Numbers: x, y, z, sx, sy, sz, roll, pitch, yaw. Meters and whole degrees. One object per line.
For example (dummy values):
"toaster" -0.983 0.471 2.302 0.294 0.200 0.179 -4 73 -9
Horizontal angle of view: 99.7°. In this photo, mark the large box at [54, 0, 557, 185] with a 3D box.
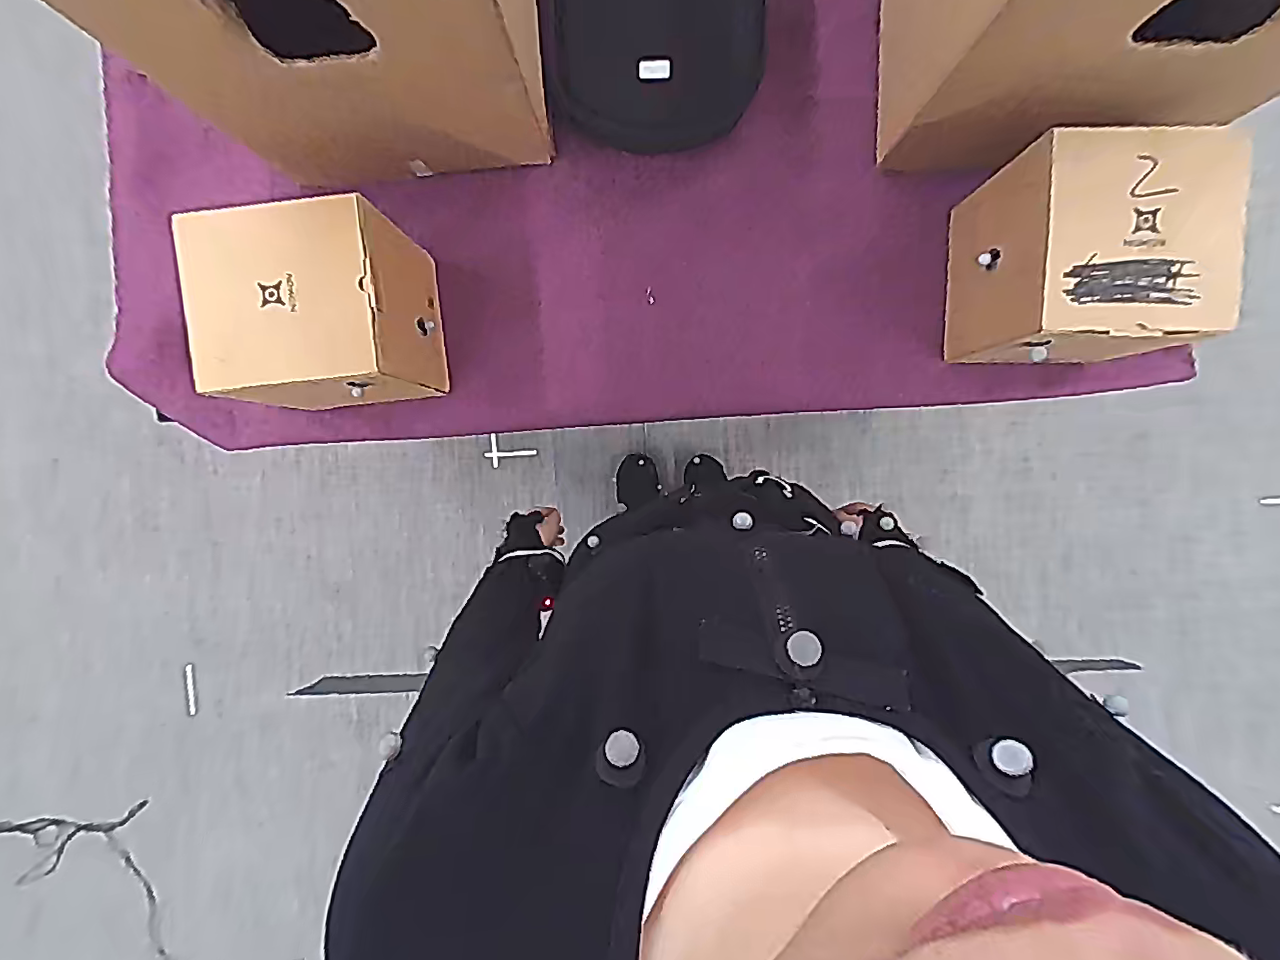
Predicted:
"large box" -0.269 -0.549 0.481 0.320 0.320 0.408 -5 96 3

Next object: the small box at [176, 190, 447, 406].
"small box" -0.329 -0.175 0.575 0.179 0.176 0.168 -7 92 1
